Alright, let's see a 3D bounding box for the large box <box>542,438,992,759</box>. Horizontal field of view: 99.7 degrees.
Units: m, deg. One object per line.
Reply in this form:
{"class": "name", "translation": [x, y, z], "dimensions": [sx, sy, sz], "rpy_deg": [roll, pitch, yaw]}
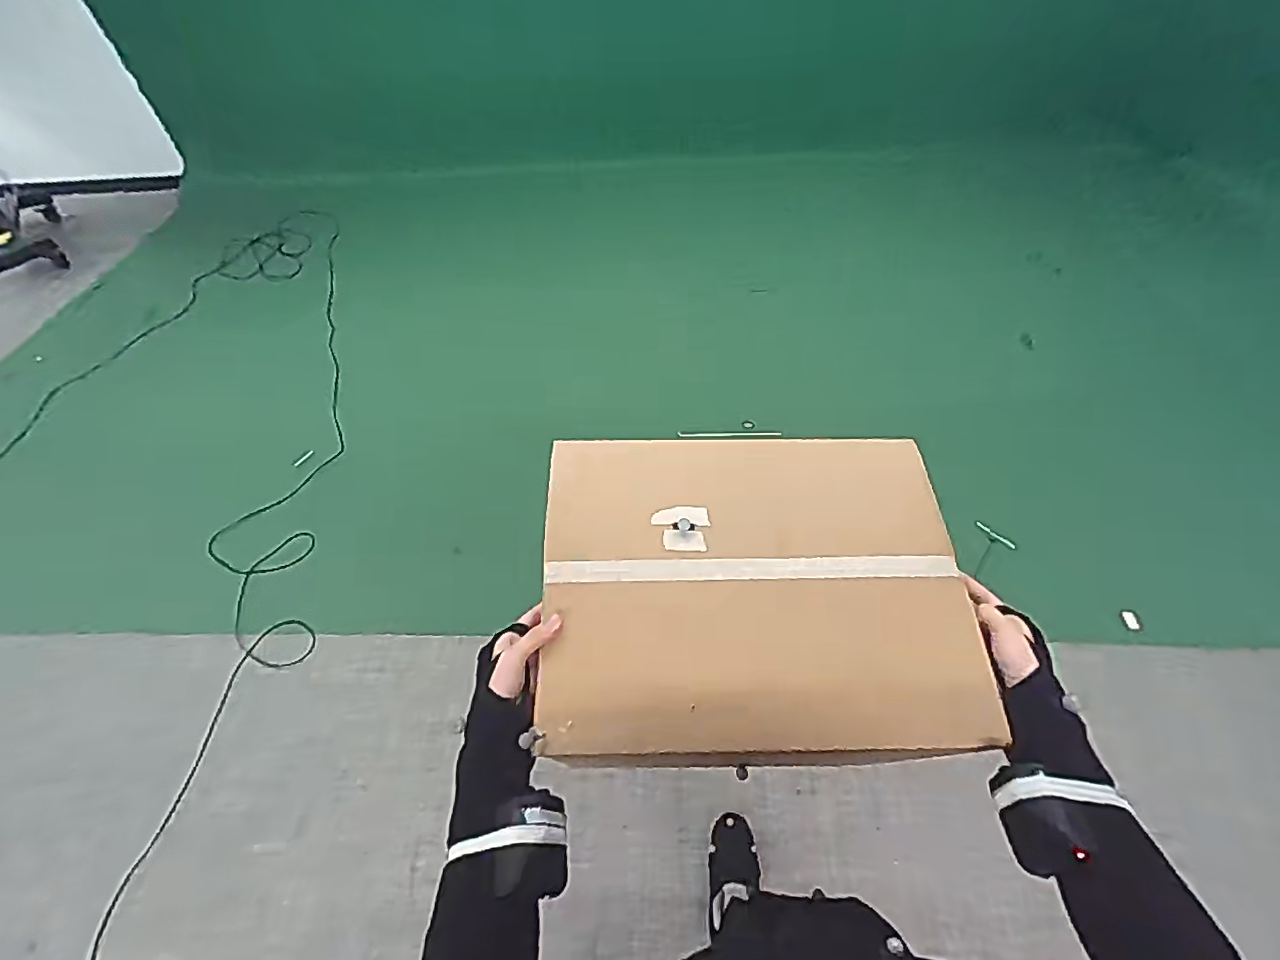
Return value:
{"class": "large box", "translation": [0.111, 0.164, 0.672], "dimensions": [0.408, 0.320, 0.320], "rpy_deg": [-1, 60, 0]}
